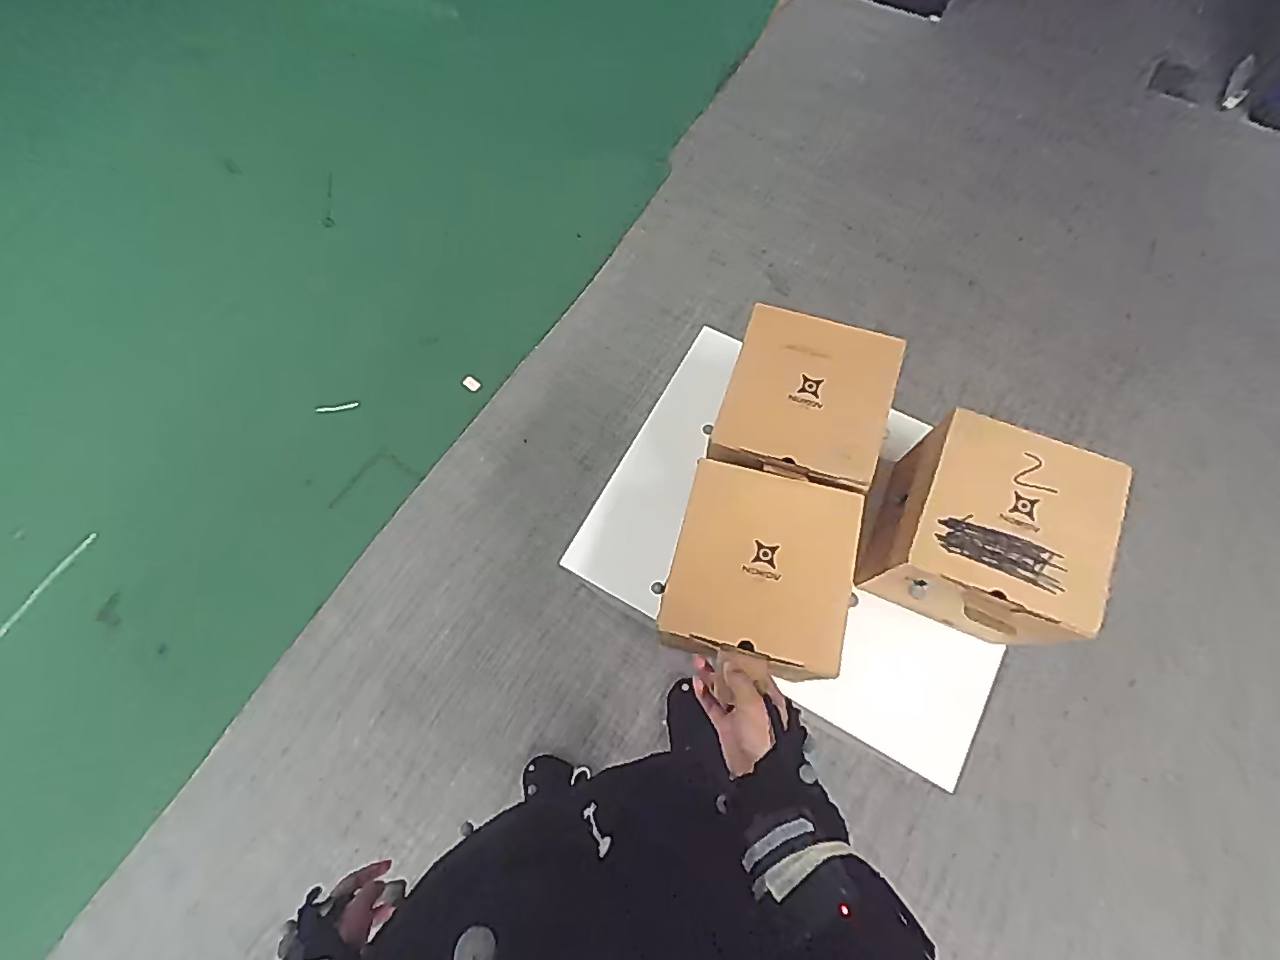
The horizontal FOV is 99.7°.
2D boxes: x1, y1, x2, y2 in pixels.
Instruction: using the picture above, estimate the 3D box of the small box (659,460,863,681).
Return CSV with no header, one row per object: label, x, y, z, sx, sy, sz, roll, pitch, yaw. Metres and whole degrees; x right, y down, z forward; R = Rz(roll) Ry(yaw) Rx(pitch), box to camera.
small box,0.118,0.104,0.578,0.168,0.176,0.179,13,71,7
